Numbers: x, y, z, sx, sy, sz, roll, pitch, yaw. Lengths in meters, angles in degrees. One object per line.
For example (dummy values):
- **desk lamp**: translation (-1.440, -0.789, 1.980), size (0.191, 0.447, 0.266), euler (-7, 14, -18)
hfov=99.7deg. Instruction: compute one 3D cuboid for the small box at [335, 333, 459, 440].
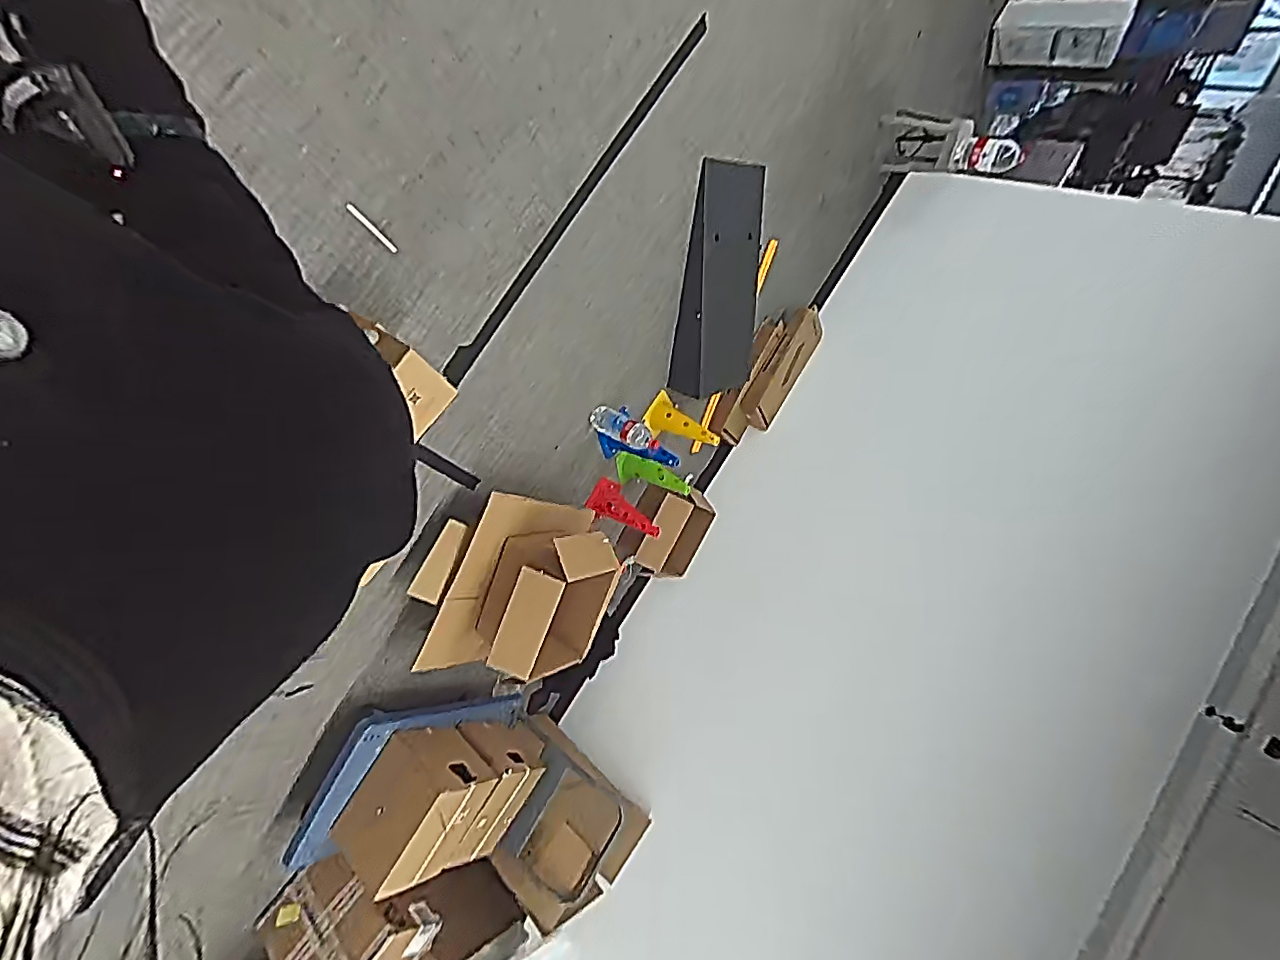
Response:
- **small box**: translation (-0.582, -0.229, 1.295), size (0.168, 0.176, 0.179), euler (-53, 150, -9)
